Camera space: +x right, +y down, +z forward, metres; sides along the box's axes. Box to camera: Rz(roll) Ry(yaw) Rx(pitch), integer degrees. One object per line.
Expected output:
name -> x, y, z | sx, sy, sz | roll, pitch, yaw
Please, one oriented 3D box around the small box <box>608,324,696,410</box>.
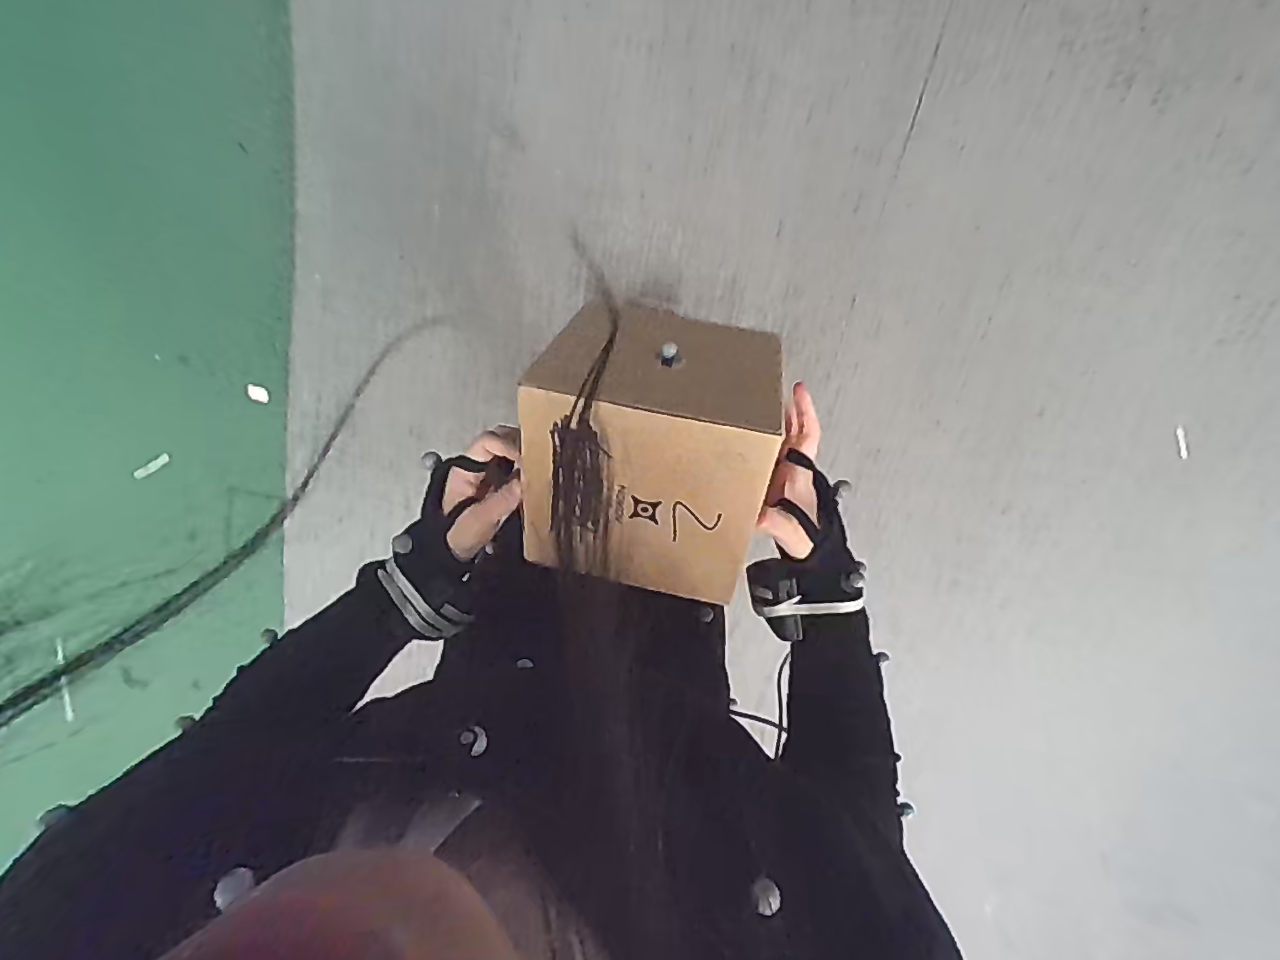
small box -> 0.025, -0.271, 1.269 | 0.179, 0.176, 0.168 | 8, 107, -3
